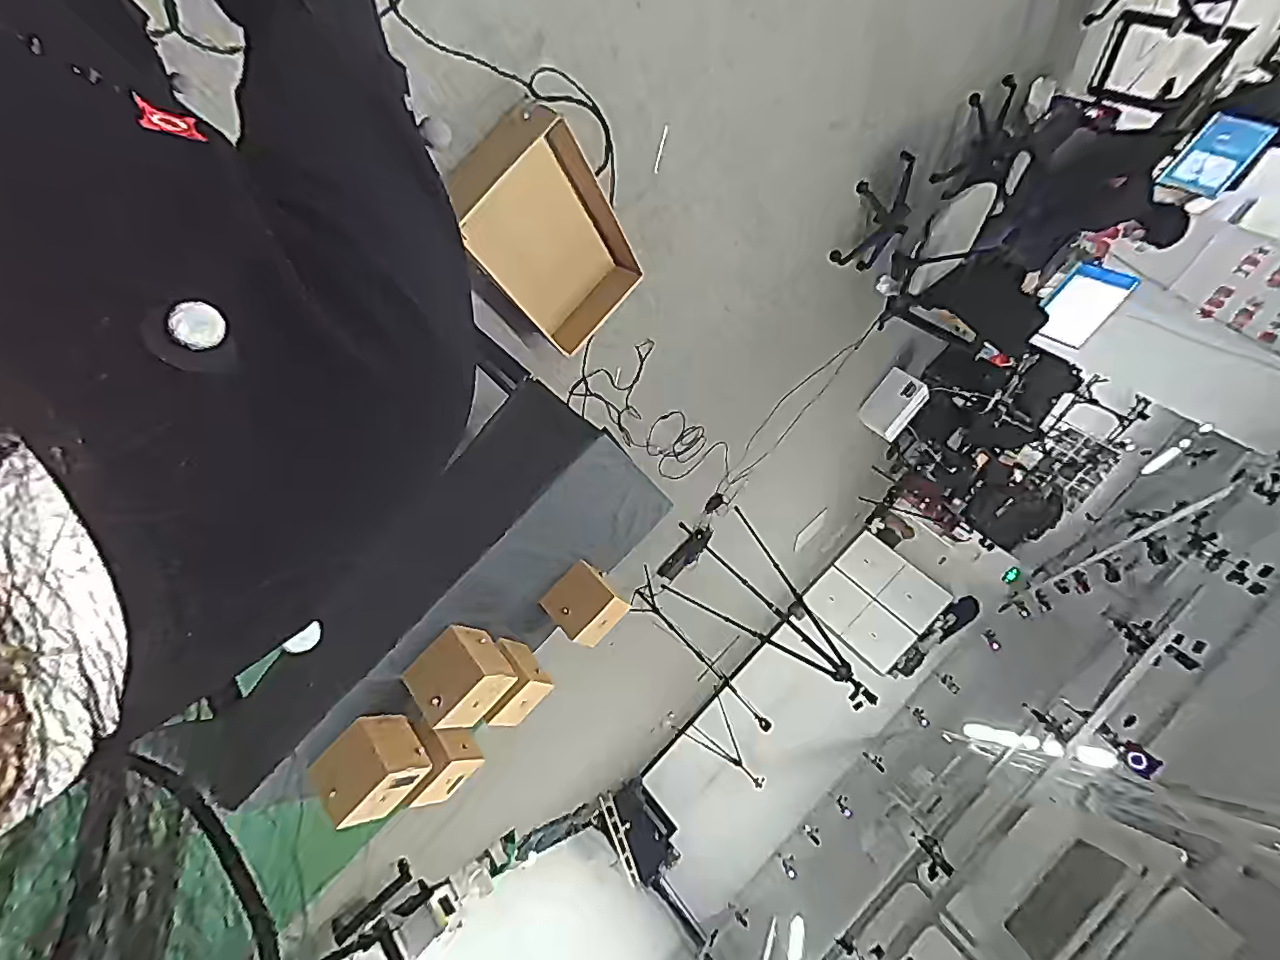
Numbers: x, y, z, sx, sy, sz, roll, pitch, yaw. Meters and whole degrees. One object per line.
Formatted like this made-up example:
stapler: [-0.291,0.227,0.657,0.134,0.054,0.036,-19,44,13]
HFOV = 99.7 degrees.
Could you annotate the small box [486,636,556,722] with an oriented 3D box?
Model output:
small box: [-0.385,0.581,1.584,0.168,0.176,0.179,-45,152,-6]

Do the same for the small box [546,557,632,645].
small box: [-0.158,0.362,1.618,0.179,0.176,0.168,-44,152,-5]

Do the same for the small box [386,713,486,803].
small box: [-0.586,0.789,1.558,0.168,0.176,0.179,-45,151,-6]

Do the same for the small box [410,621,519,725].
small box: [-0.450,0.488,1.367,0.179,0.176,0.168,-46,153,-4]
